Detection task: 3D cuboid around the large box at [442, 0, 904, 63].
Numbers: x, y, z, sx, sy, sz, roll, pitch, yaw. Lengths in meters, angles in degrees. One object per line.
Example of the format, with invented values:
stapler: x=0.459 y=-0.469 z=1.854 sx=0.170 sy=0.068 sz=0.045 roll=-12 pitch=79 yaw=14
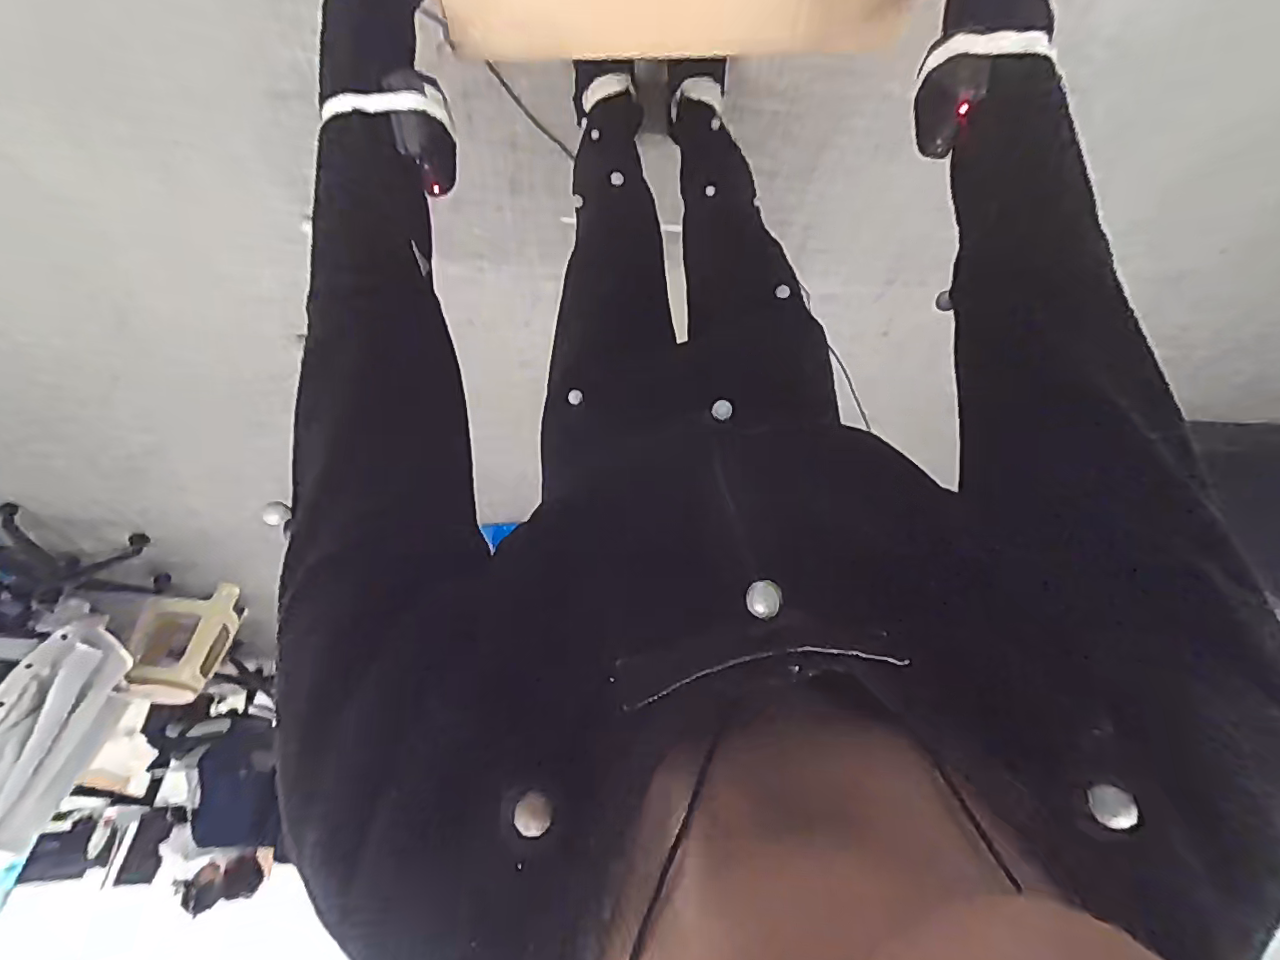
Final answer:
large box: x=0.023 y=-0.594 z=0.436 sx=0.408 sy=0.320 sz=0.320 roll=-4 pitch=148 yaw=-3
